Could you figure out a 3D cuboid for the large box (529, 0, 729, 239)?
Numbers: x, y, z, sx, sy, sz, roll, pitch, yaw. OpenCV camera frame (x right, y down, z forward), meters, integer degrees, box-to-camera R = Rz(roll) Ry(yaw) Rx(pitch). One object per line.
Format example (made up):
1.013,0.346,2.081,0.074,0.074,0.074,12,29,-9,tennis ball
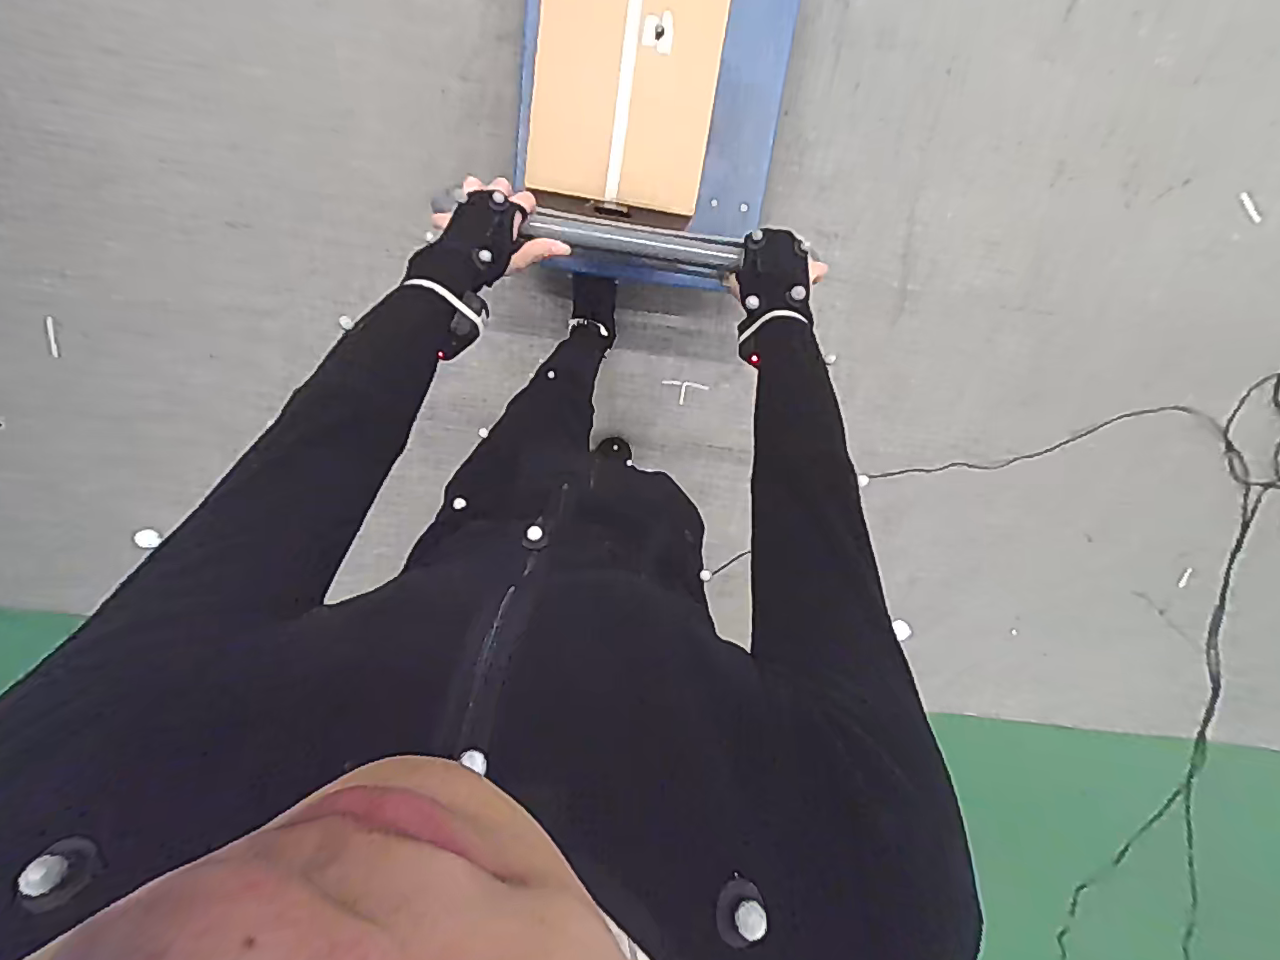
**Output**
-0.023,-0.734,1.071,0.320,0.320,0.408,8,105,-4,large box
